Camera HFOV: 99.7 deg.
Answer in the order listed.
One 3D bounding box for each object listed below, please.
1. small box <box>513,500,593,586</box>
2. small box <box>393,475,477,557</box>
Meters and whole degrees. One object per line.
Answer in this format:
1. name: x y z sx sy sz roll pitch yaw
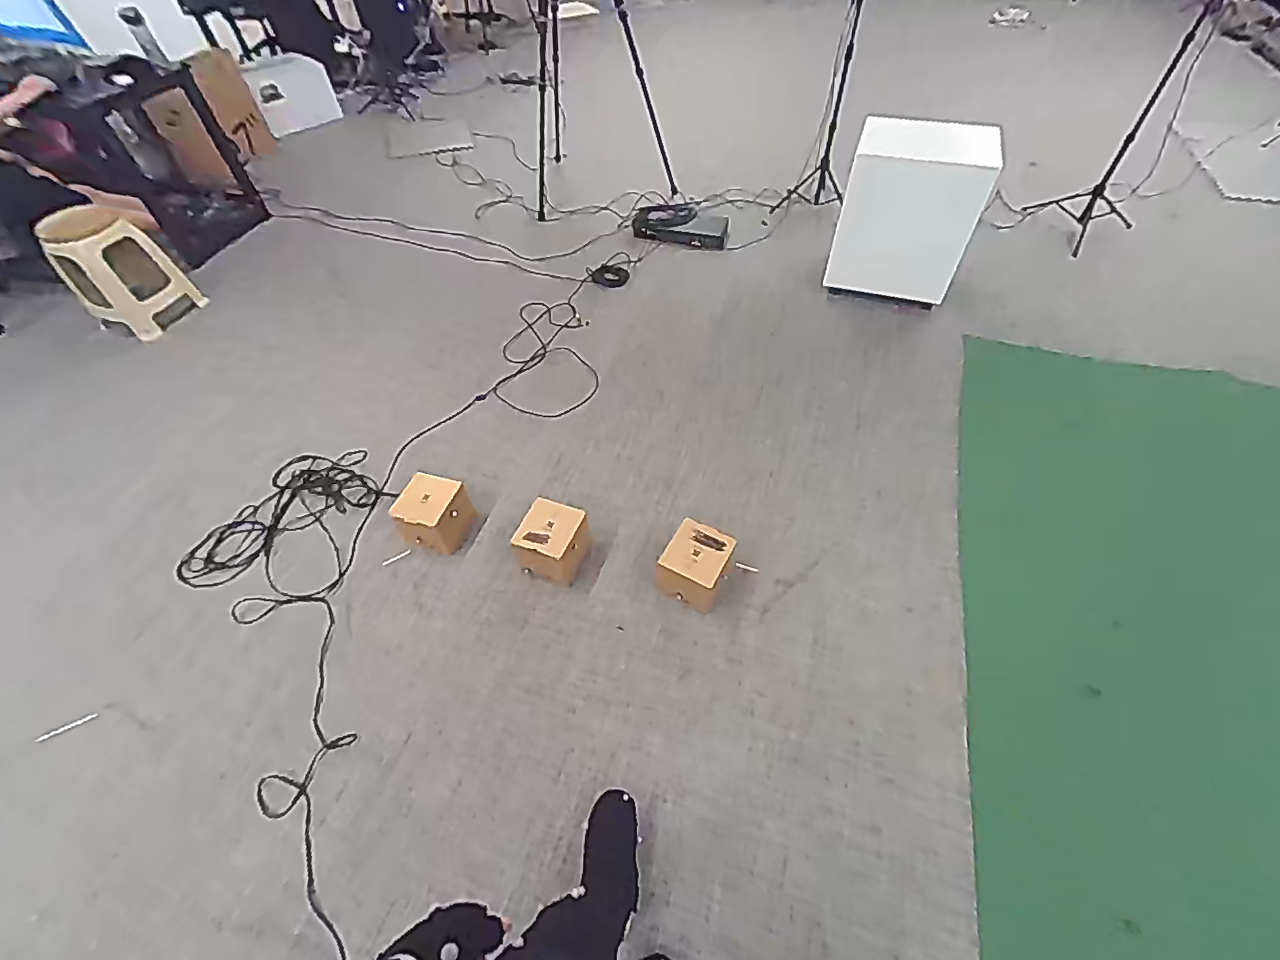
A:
1. small box: -0.252 0.193 1.627 0.168 0.176 0.179 16 53 16
2. small box: -0.638 0.115 1.713 0.168 0.176 0.179 12 54 13
